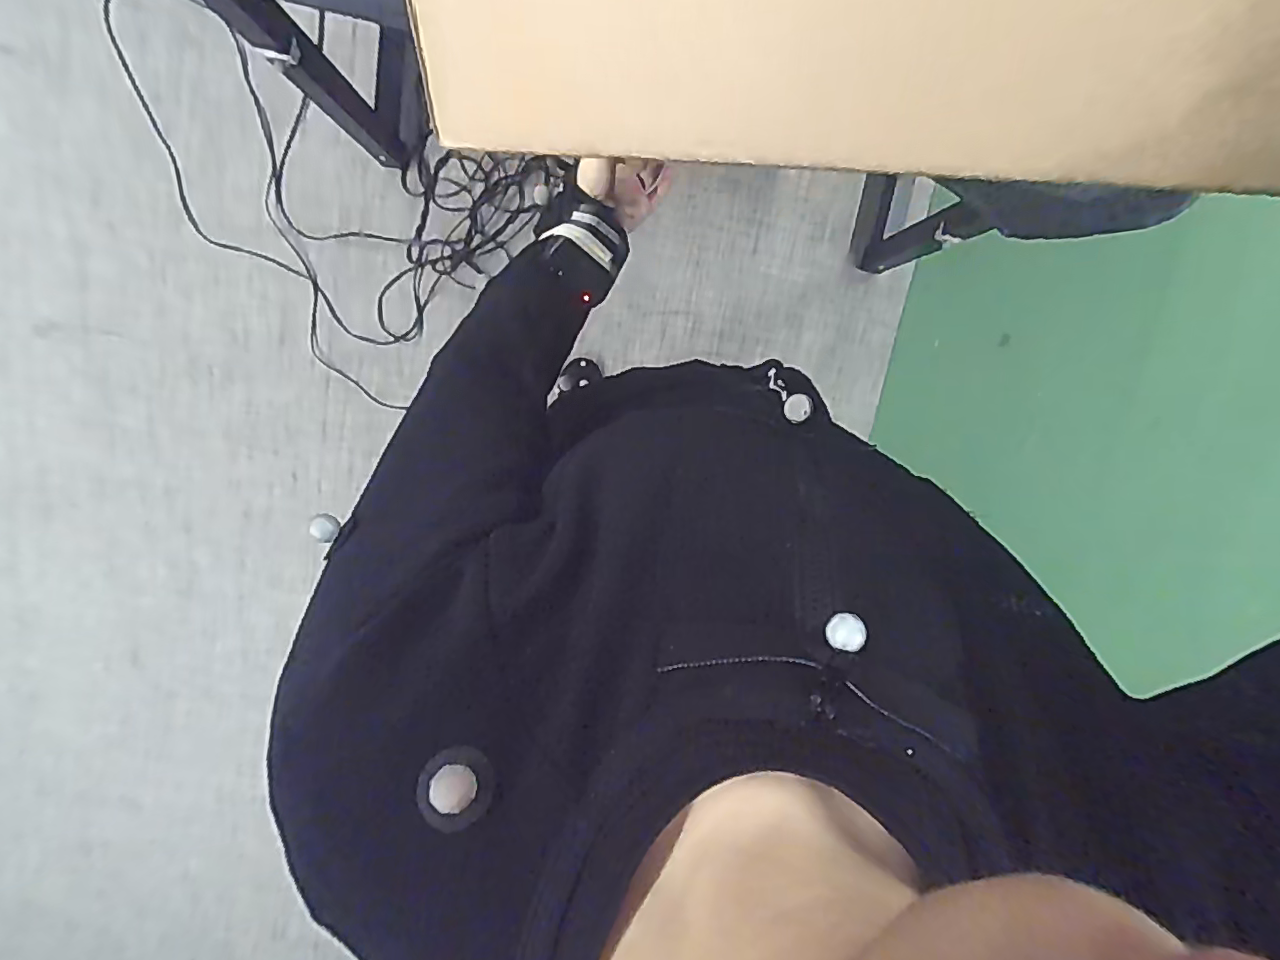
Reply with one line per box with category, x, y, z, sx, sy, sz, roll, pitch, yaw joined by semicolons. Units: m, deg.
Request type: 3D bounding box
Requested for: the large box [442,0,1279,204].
large box;0.140;-0.334;0.259;0.408;0.320;0.320;11;127;17
